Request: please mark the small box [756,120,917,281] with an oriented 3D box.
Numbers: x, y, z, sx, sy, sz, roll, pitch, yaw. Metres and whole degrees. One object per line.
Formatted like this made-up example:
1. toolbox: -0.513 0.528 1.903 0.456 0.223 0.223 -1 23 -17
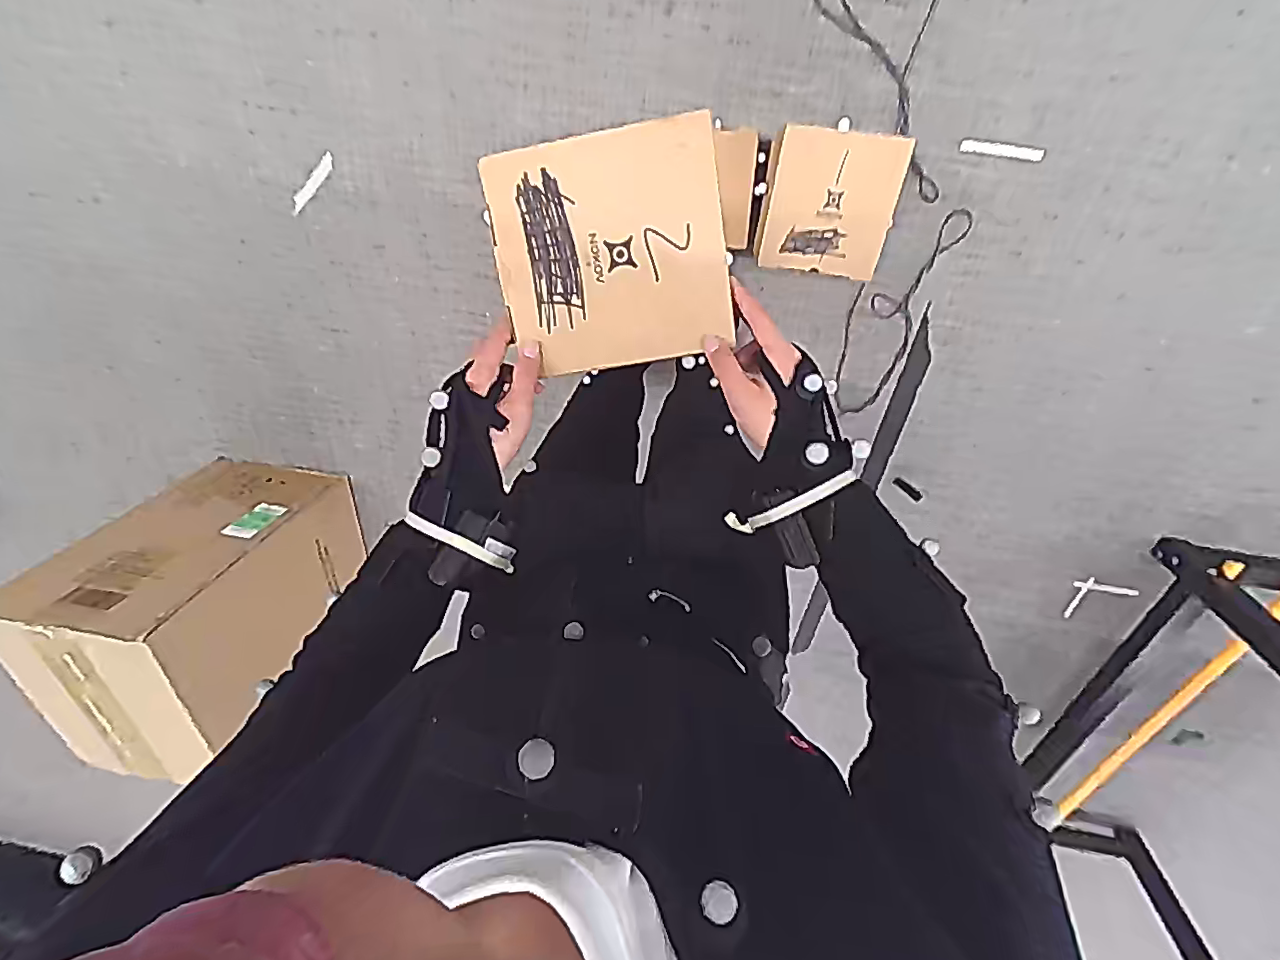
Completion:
1. small box: 0.268 -0.406 0.786 0.168 0.176 0.179 10 121 4
